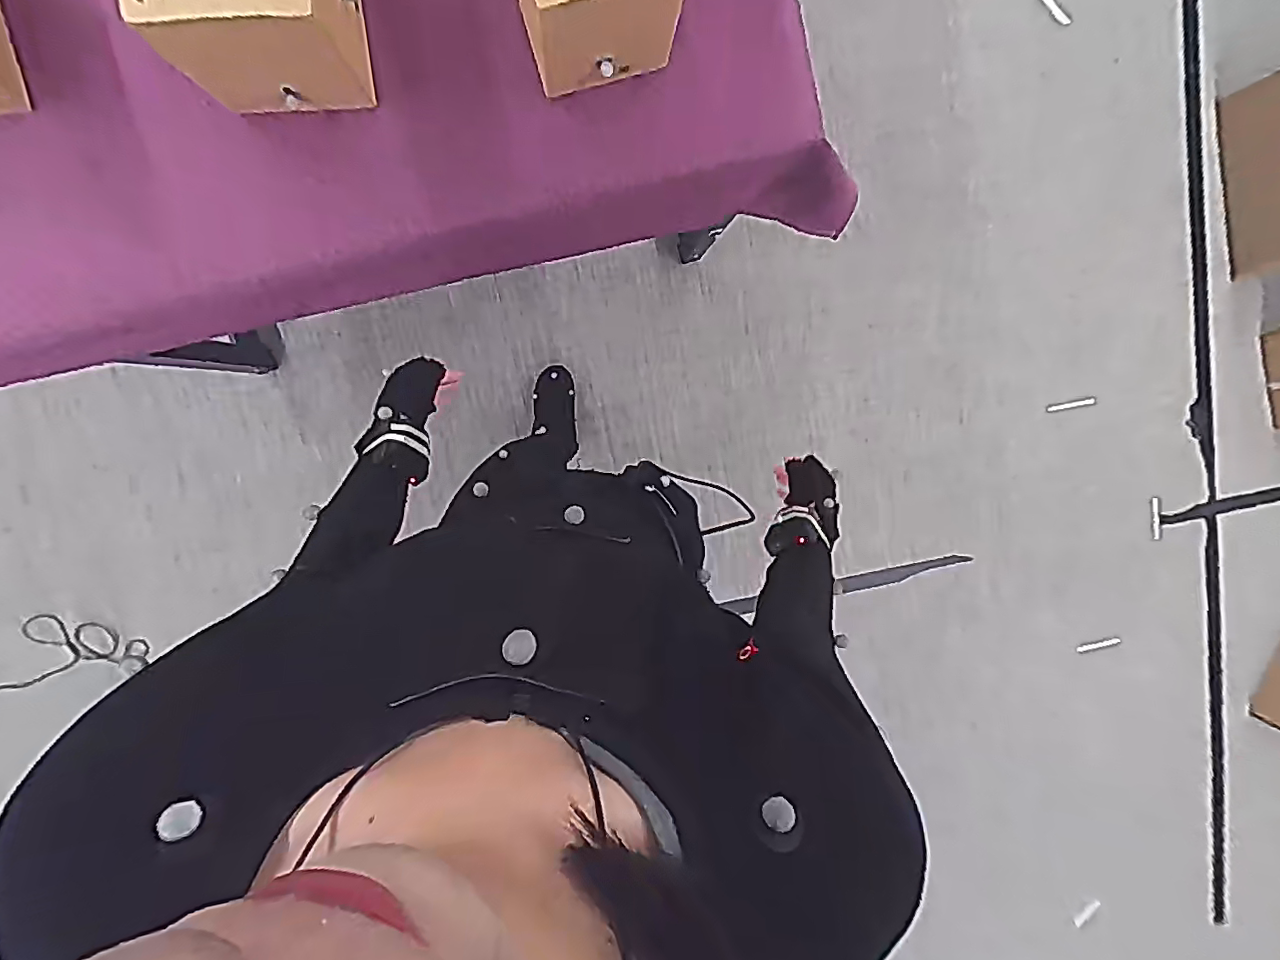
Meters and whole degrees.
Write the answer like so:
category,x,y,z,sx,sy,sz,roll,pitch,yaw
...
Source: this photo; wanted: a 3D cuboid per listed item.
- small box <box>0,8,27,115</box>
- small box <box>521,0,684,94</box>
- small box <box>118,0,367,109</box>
category,x,y,z,sx,sy,sz,roll,pitch,yaw
small box,-0.803,-0.497,0.540,0.168,0.176,0.179,-10,100,-4
small box,-0.057,-0.588,0.610,0.168,0.176,0.179,-17,100,-3
small box,-0.414,-0.529,0.579,0.179,0.176,0.168,-6,98,-6
